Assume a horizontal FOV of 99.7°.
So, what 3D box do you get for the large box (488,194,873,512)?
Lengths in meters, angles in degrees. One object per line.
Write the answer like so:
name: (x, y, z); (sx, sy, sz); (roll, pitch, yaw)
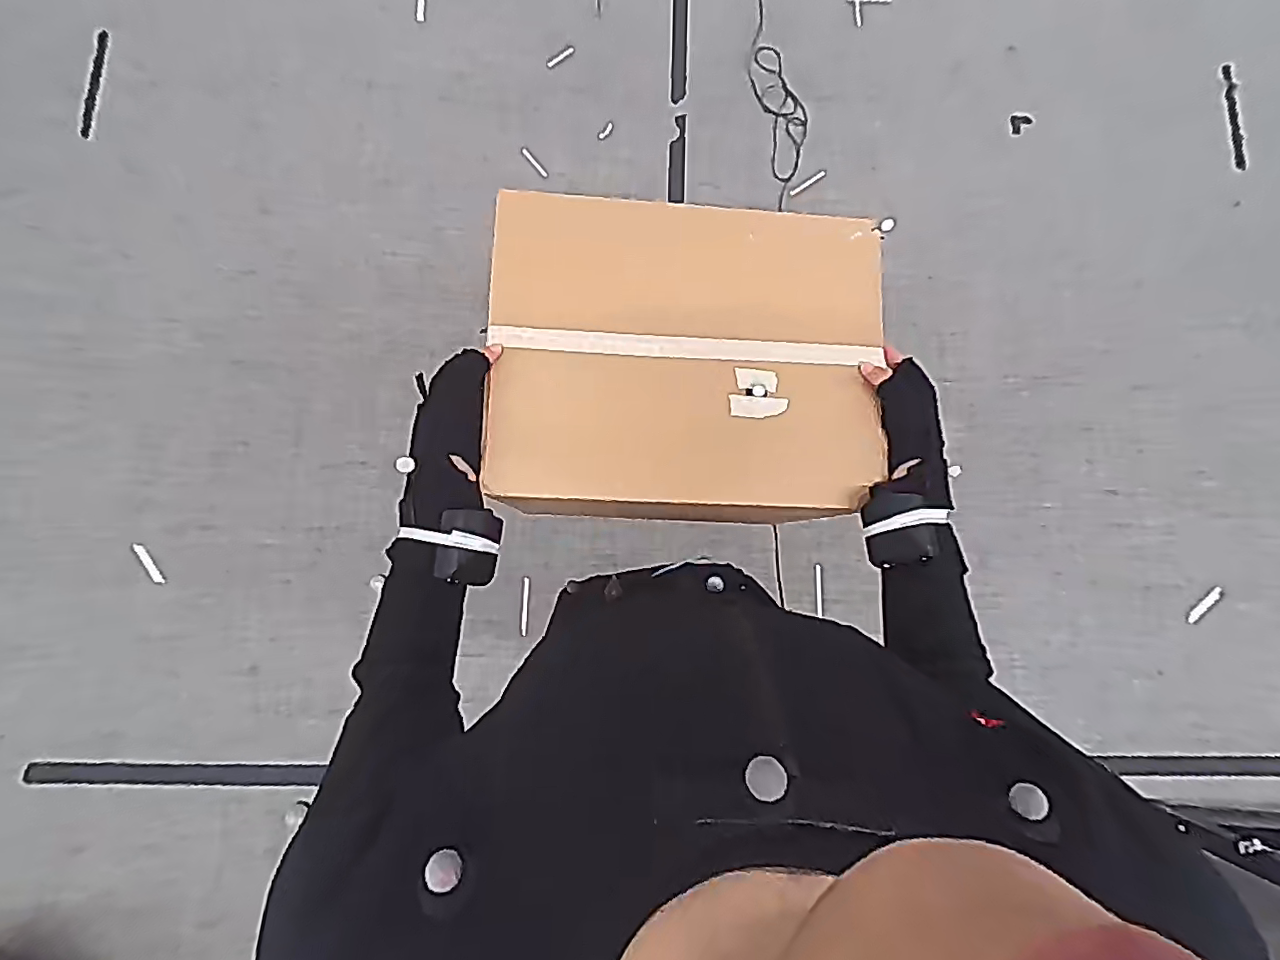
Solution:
large box: (0.035, -0.123, 0.709); (0.408, 0.320, 0.320); (3, 84, -5)
